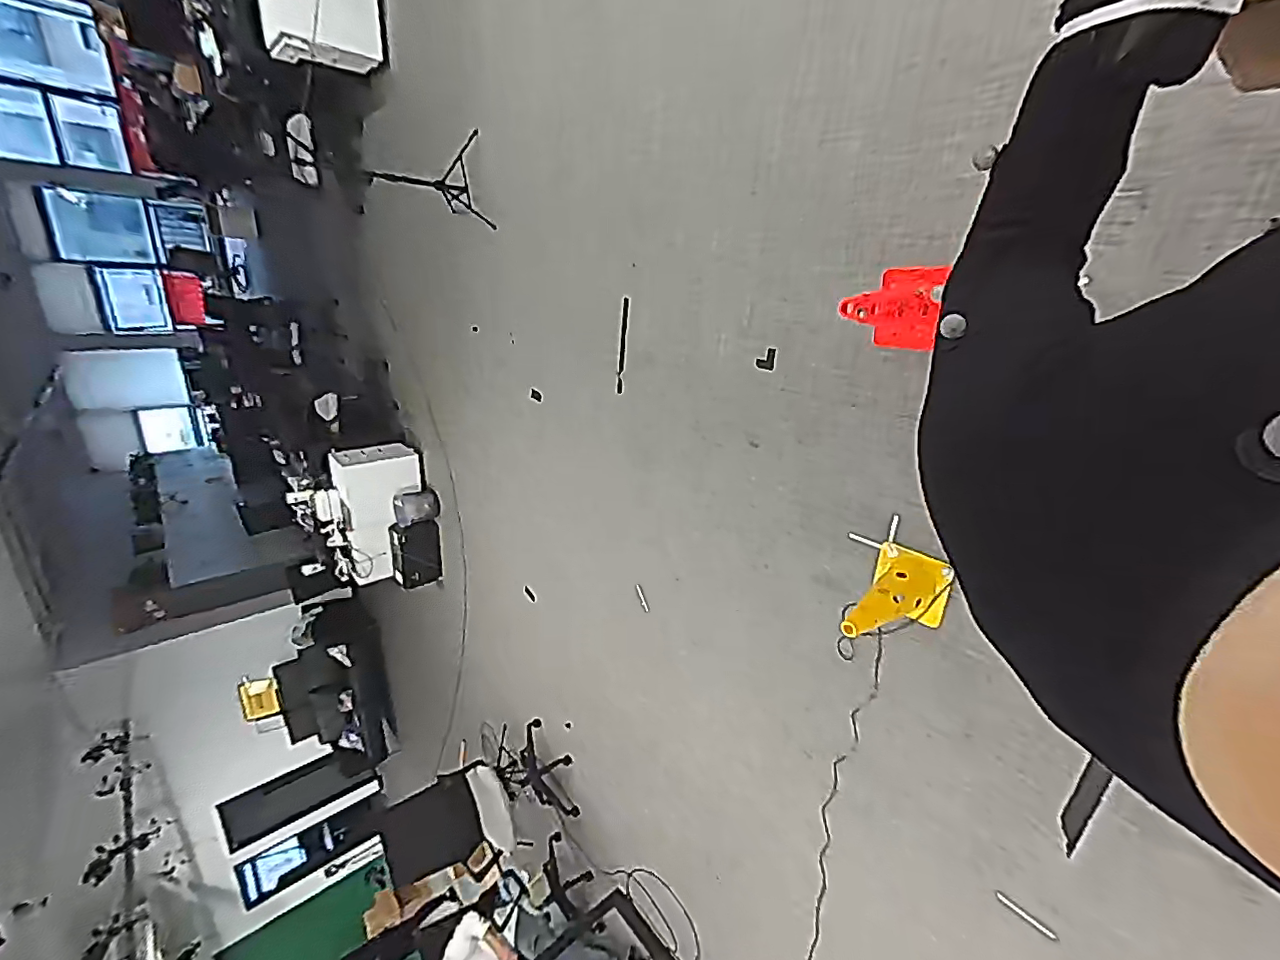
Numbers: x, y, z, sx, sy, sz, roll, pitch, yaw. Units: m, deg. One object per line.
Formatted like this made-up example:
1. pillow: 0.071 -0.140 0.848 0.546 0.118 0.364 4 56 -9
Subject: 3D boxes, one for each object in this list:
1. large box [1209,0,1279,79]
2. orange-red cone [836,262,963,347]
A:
1. large box: 0.575 -0.434 0.229 0.408 0.320 0.320 20 121 45
2. orange-red cone: 0.573 -0.410 1.271 0.198 0.360 0.199 23 120 45
